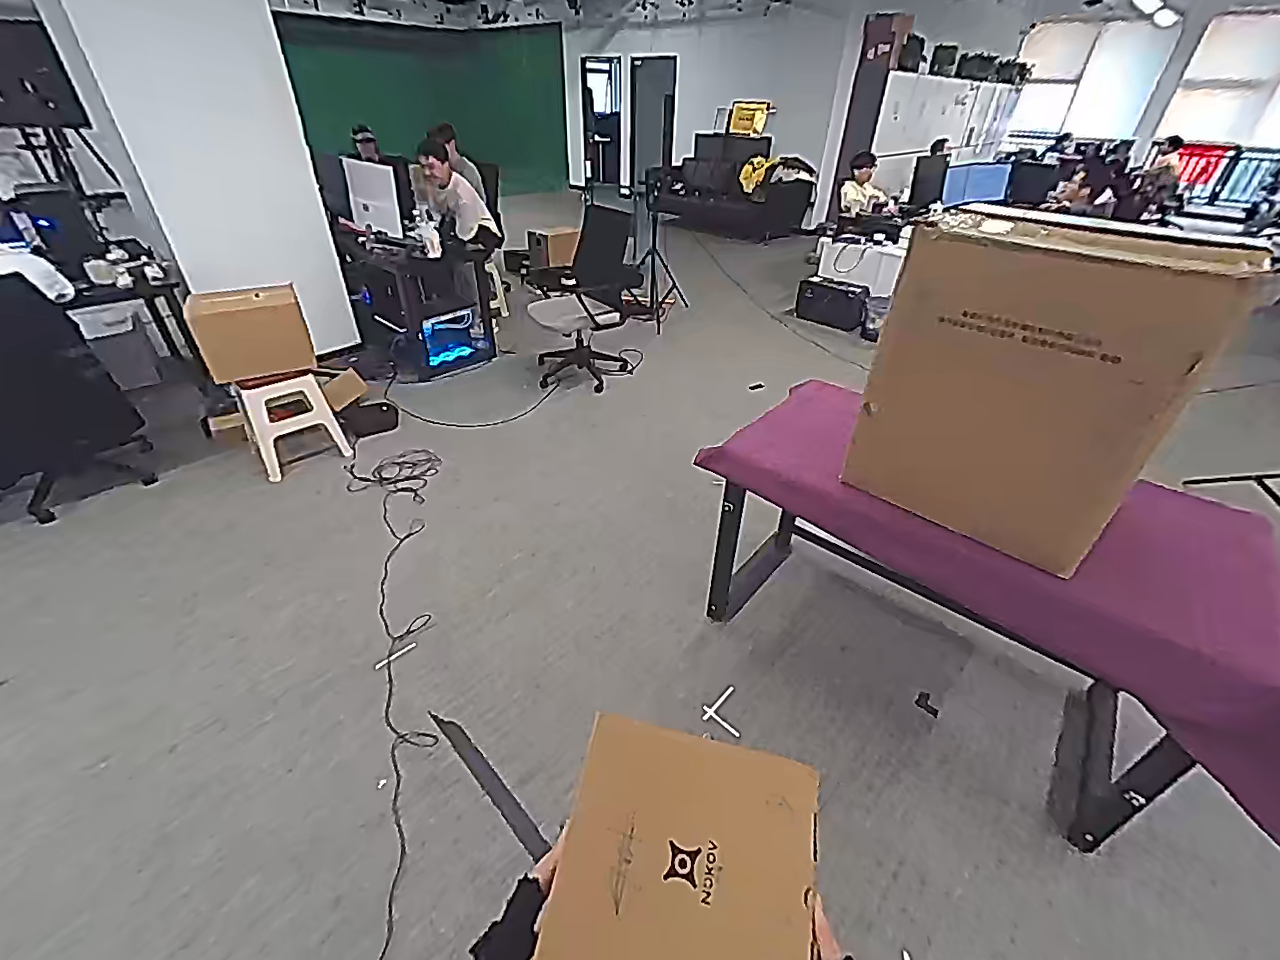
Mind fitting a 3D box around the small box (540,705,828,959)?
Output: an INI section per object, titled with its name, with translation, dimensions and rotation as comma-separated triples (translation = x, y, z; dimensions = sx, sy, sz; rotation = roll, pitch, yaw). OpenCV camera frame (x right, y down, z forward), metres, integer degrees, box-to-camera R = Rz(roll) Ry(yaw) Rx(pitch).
[small box]
translation = 0.036, 0.304, 0.430
dimensions = 0.179, 0.176, 0.168
rotation = 11, 52, 6
